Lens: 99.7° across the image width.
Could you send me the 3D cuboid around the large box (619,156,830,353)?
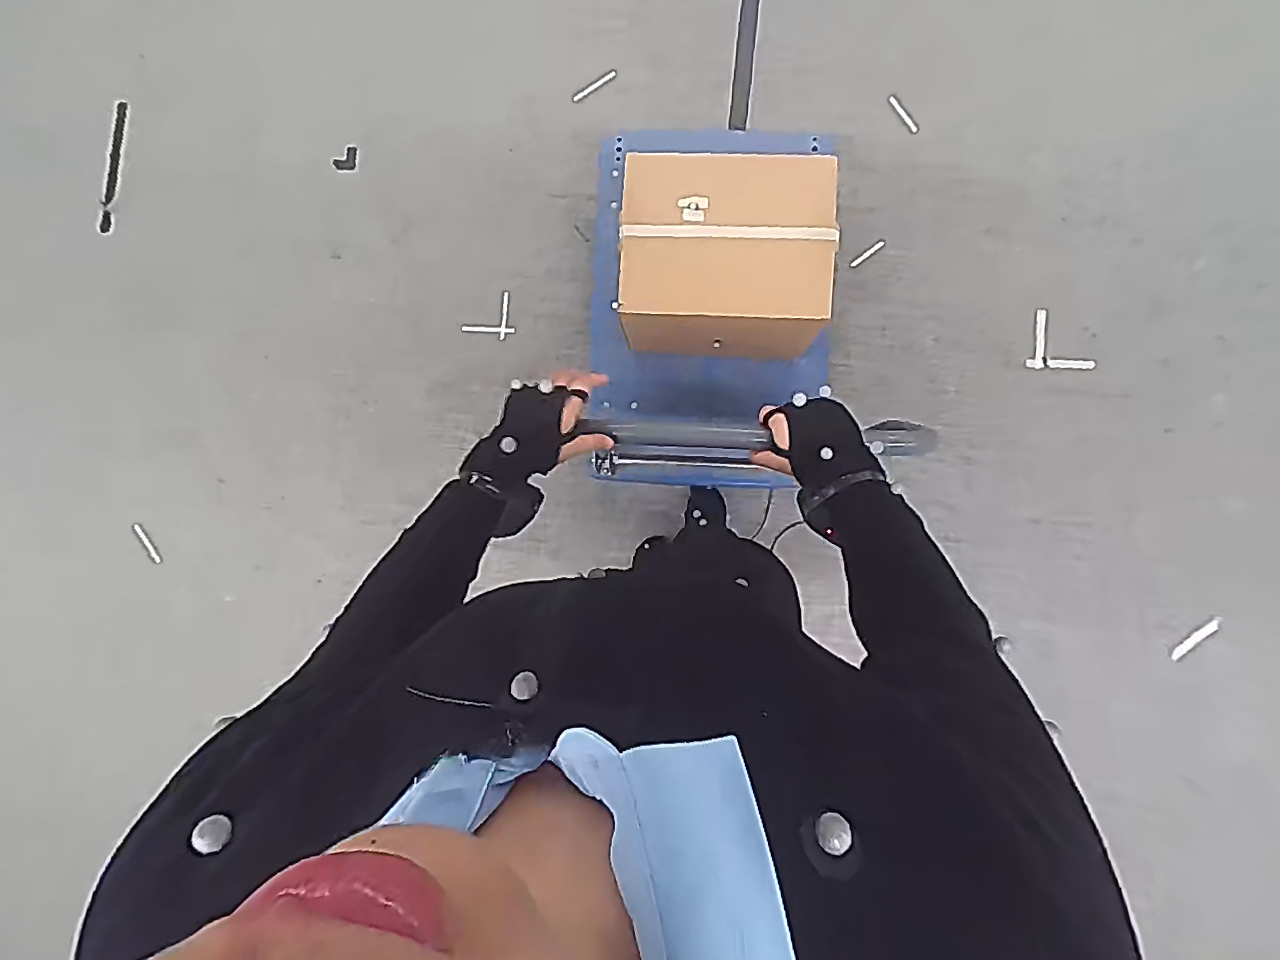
[{"bbox_3d":[0.175,-0.467,1.190,0.408,0.320,0.320,2,88,5],"label":"large box"}]
